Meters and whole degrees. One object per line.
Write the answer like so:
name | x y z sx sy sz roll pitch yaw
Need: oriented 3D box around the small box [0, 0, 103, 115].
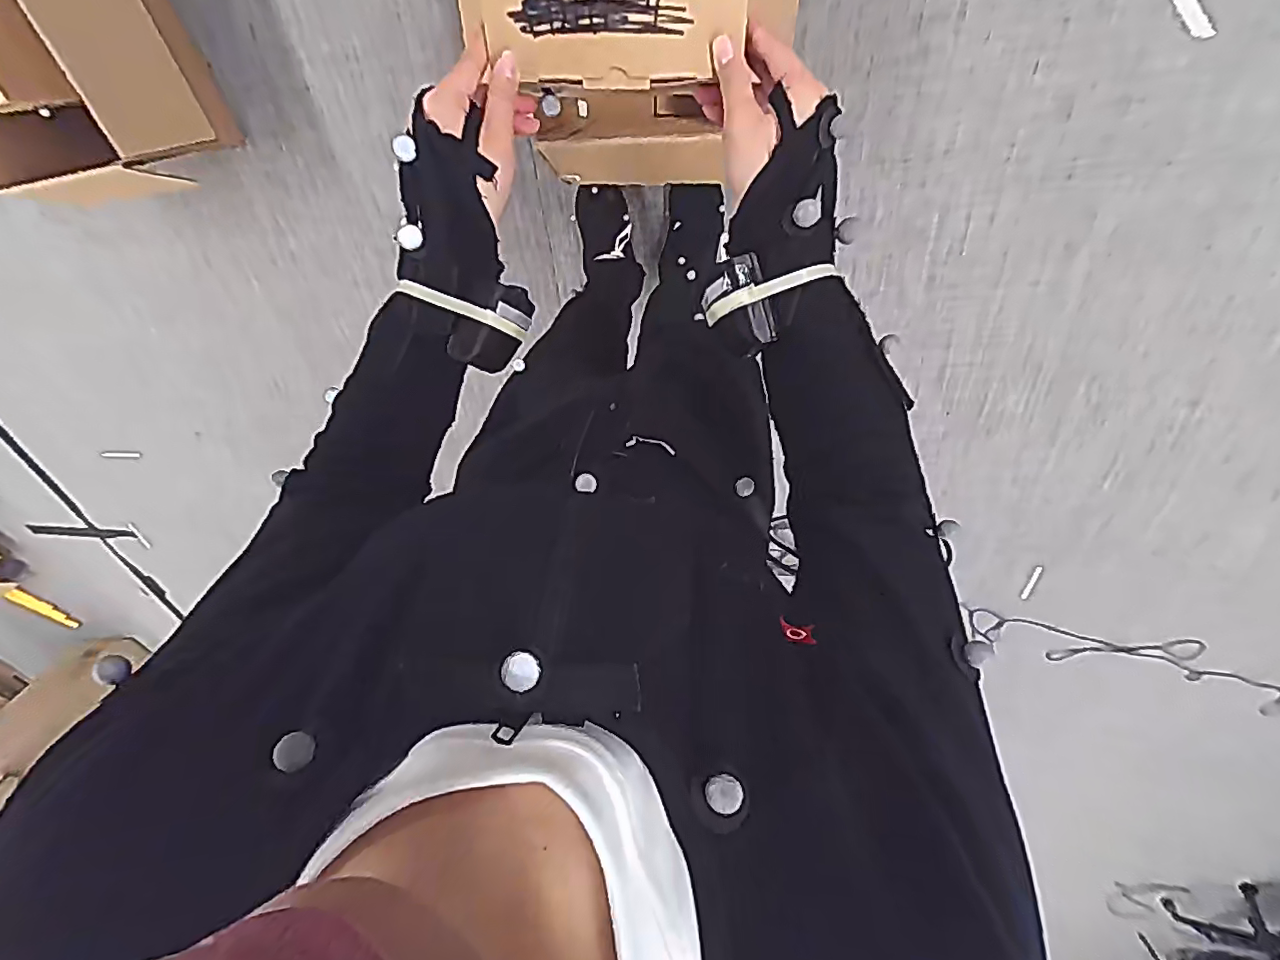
small box | -1.057 -0.701 0.872 0.168 0.176 0.179 -1 128 12
